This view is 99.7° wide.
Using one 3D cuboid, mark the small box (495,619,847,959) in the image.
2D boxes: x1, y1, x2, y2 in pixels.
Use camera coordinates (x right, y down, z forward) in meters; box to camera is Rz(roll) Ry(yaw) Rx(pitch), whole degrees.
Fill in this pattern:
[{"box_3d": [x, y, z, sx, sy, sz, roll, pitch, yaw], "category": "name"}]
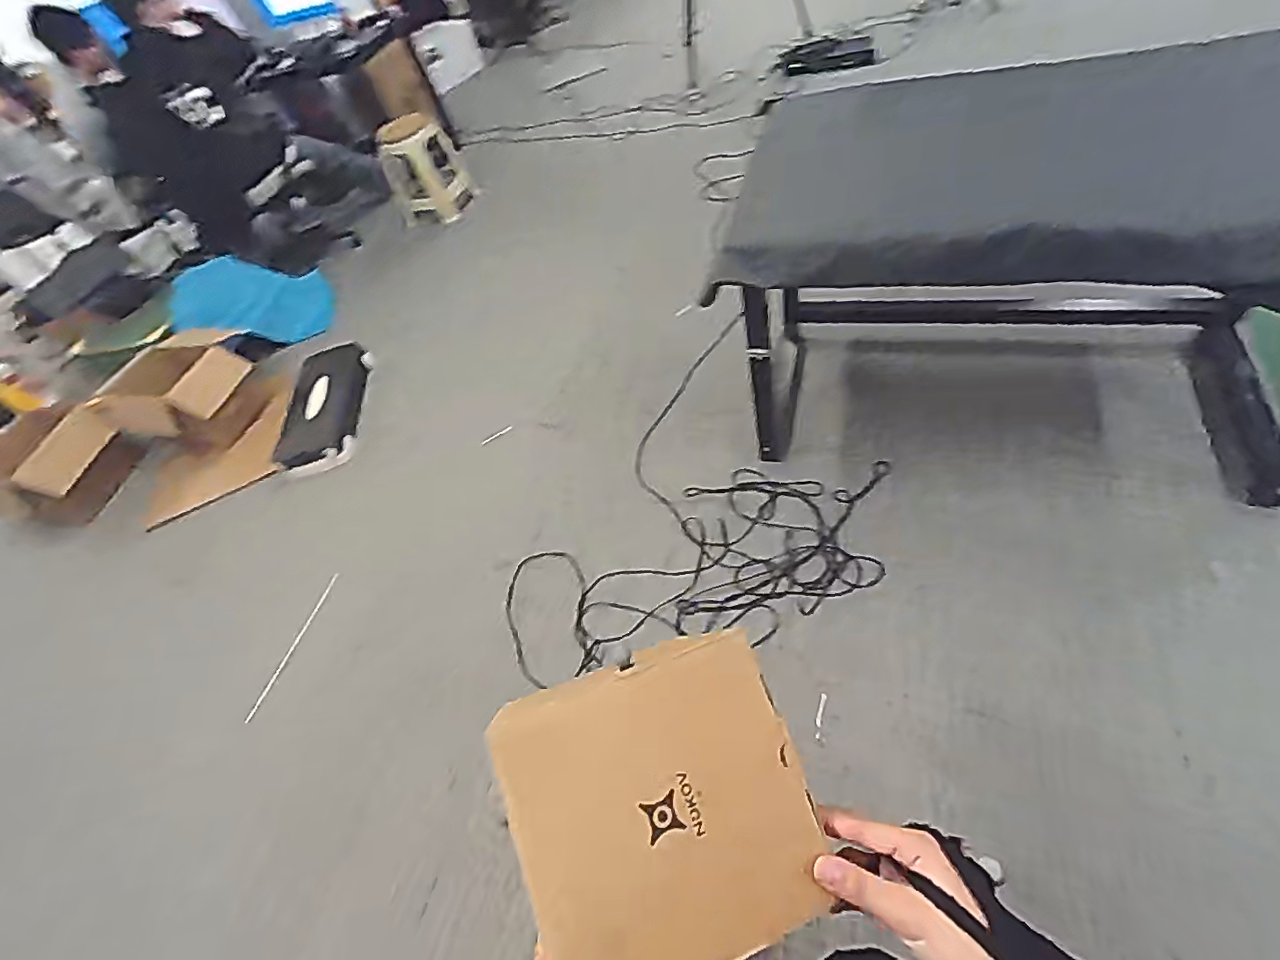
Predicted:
[{"box_3d": [0.005, 0.213, 0.393, 0.179, 0.176, 0.168, -15, 75, -16], "category": "small box"}]
